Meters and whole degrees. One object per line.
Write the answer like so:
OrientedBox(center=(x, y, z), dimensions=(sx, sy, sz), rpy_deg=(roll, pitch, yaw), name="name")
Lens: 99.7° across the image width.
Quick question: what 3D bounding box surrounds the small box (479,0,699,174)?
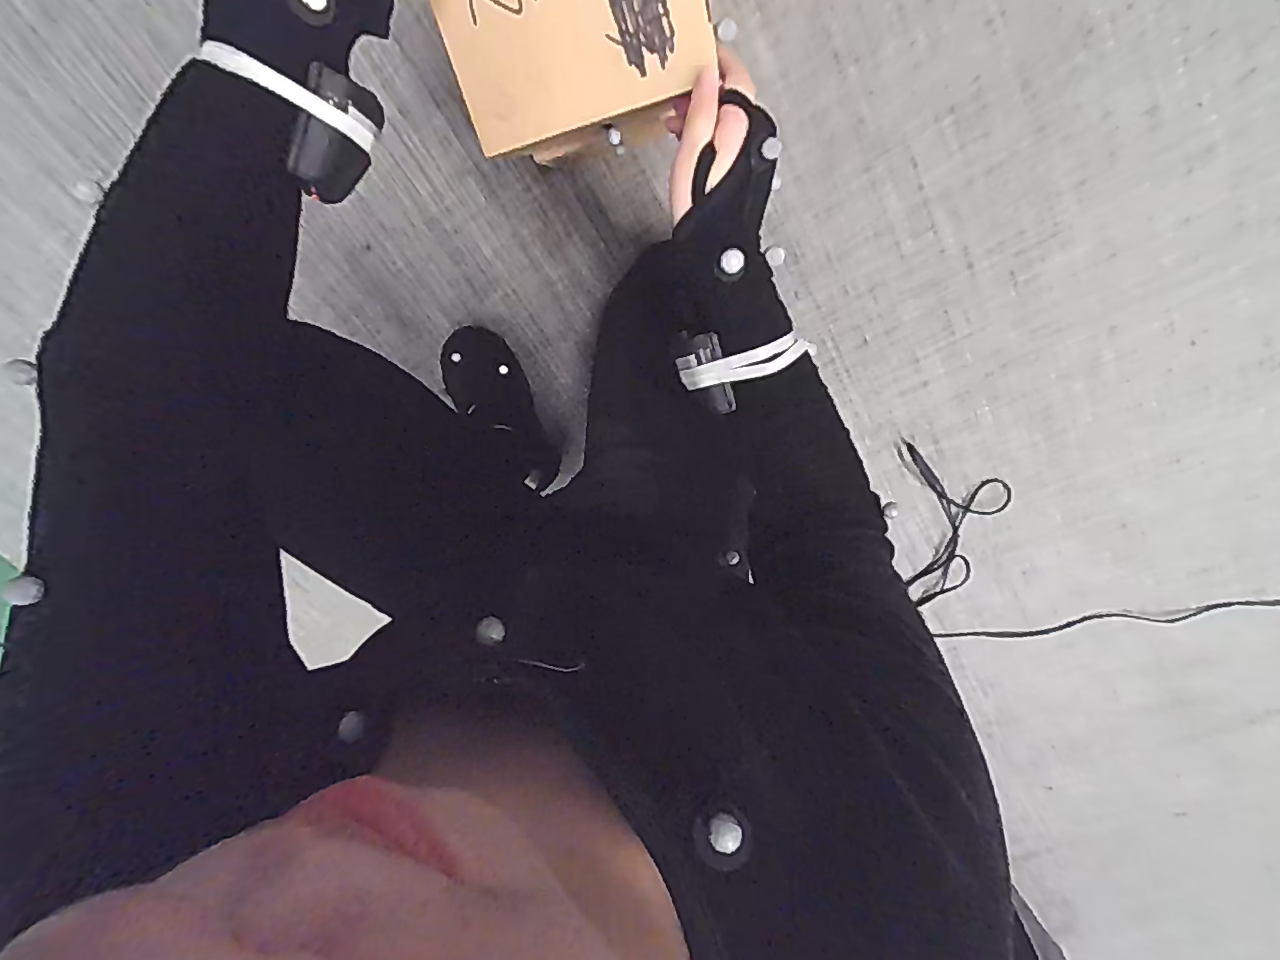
OrientedBox(center=(-0.040, -0.432, 0.561), dimensions=(0.179, 0.176, 0.168), rpy_deg=(-12, 116, 10), name="small box")
